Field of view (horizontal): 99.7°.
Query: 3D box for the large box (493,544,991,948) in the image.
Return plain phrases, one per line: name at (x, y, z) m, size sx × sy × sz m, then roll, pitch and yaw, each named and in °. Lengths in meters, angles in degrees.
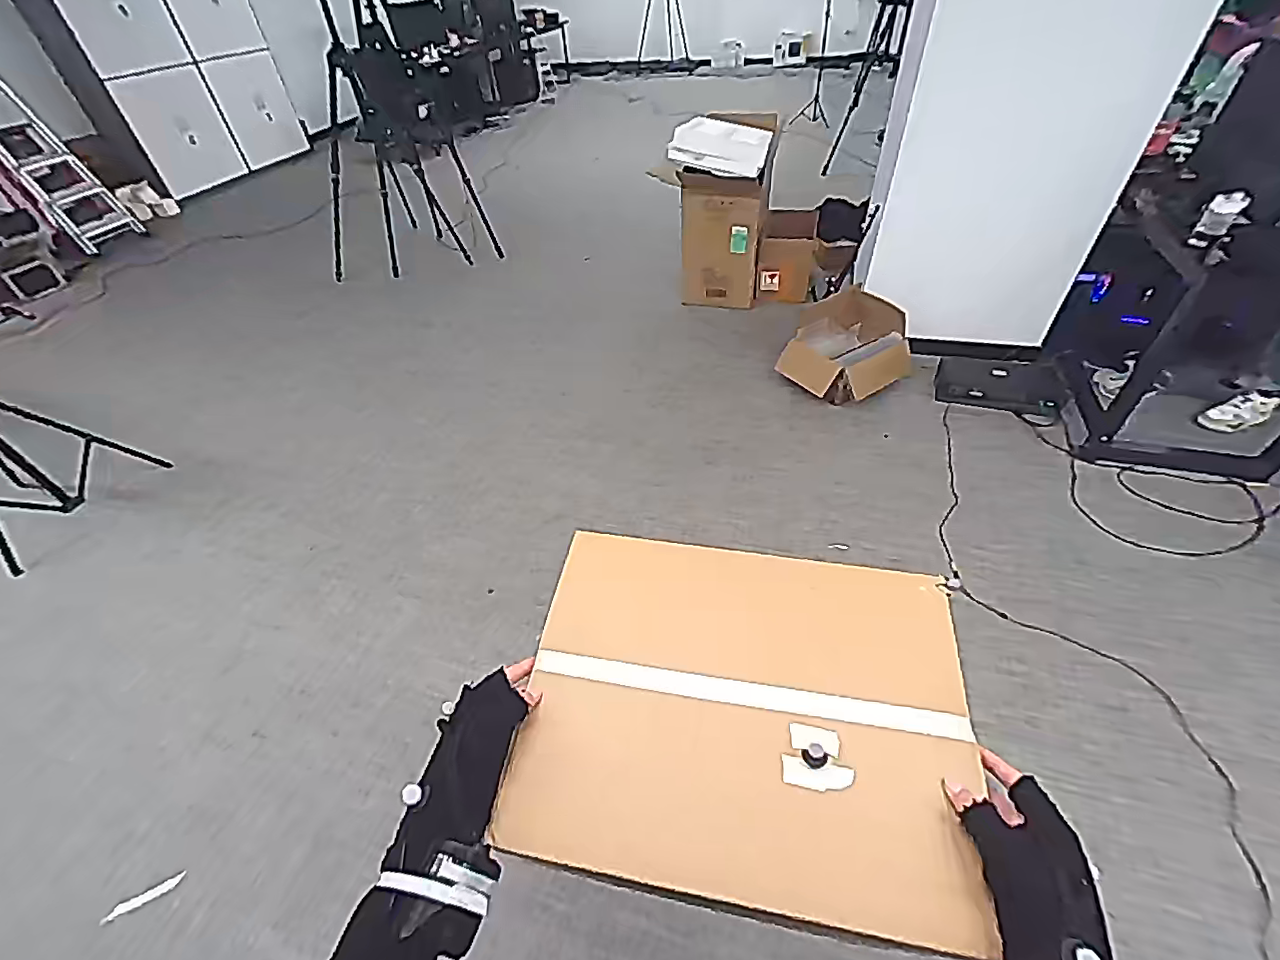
large box at (0.100, 0.306, 0.635) m, size 0.408 × 0.320 × 0.320 m, roll 7°, pitch 51°, yaw 10°
